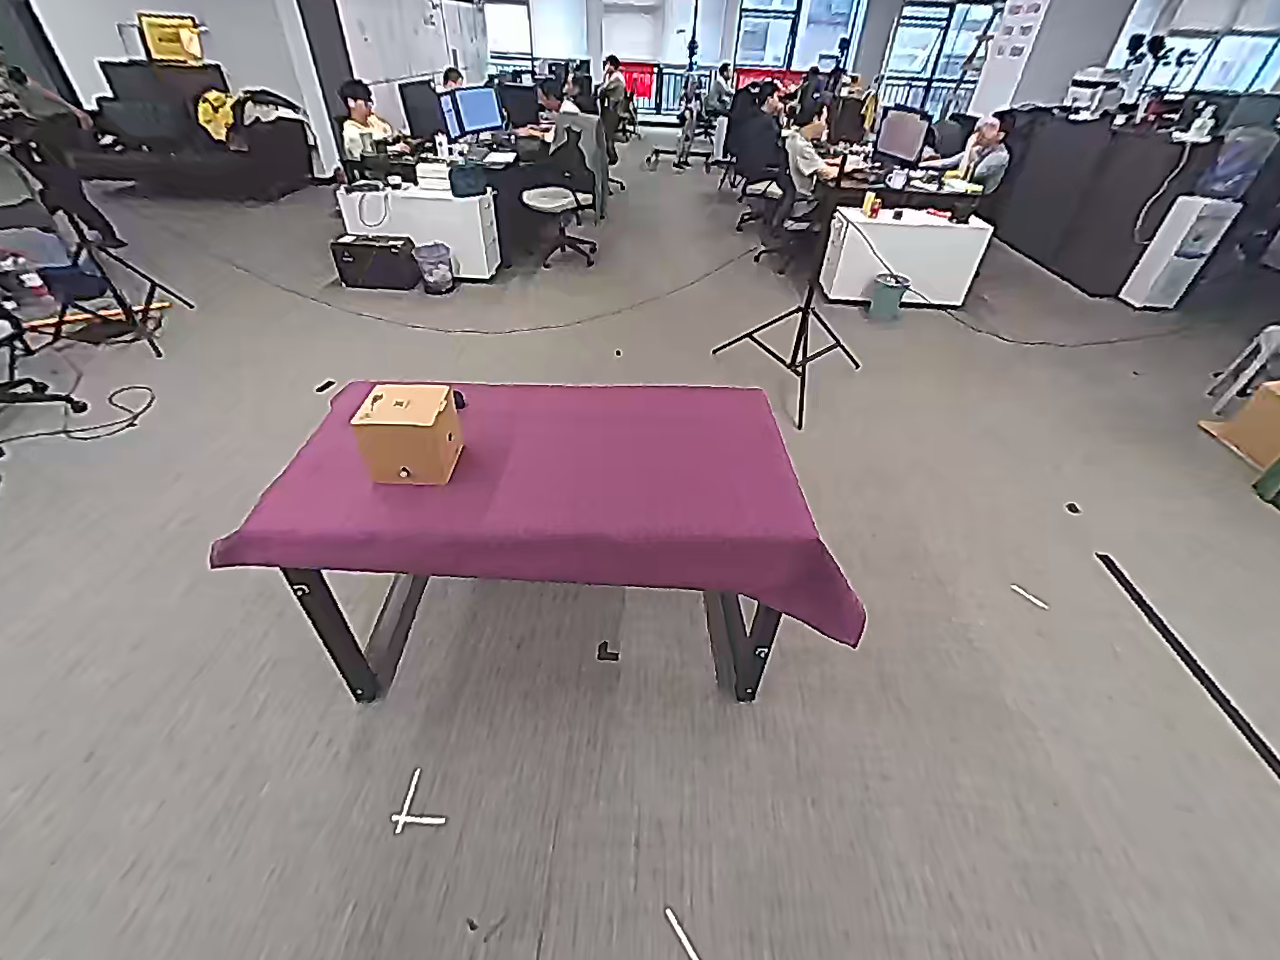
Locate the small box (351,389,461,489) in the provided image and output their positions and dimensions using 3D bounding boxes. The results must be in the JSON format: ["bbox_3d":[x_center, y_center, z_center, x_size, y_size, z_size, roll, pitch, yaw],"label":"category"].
[{"bbox_3d":[-0.529,-0.093,1.253,0.179,0.176,0.168,2,39,-3],"label":"small box"}]
